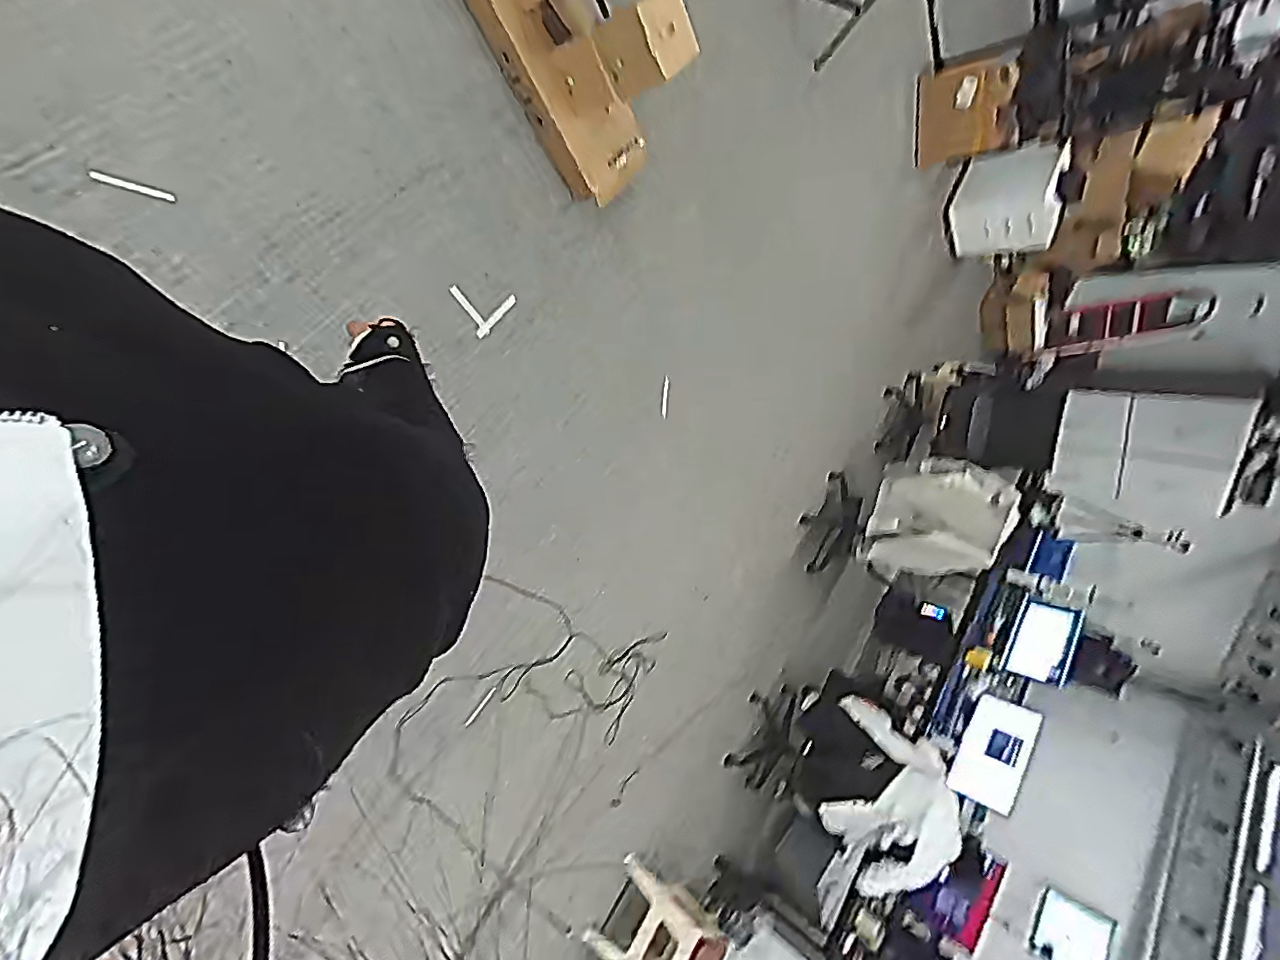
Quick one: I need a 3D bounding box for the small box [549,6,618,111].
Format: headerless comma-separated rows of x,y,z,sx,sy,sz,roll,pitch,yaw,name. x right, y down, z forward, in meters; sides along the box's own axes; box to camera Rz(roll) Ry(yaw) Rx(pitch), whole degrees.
-0.116,-1.164,1.494,0.179,0.176,0.168,-50,130,-23,small box

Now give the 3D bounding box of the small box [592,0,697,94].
0.010,-1.141,1.387,0.179,0.176,0.168,-54,132,-21,small box
